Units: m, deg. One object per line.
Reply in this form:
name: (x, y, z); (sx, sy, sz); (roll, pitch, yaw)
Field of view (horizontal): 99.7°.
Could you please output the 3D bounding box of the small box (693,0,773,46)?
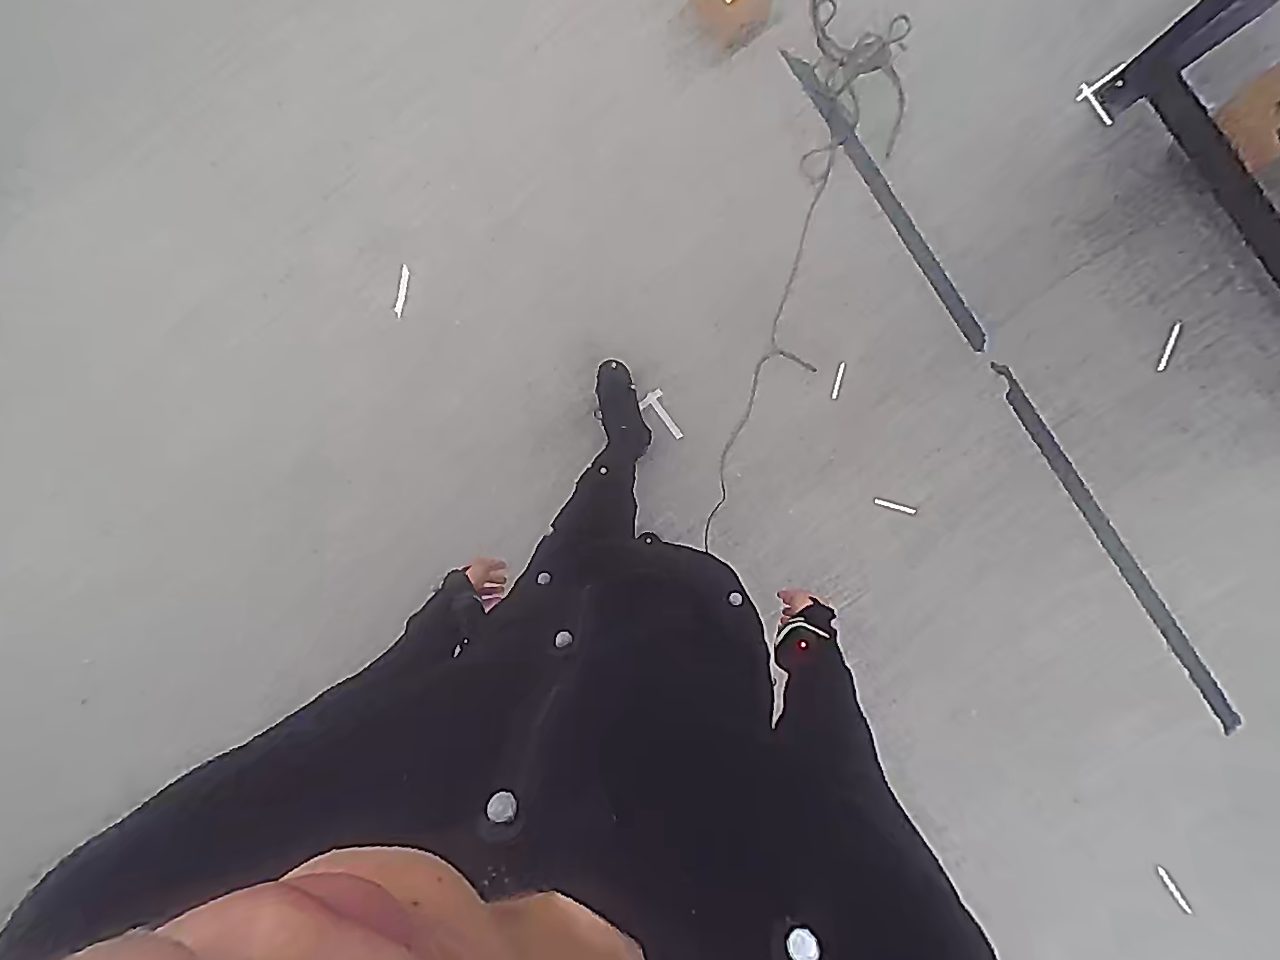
small box: (0.250, -1.338, 1.452); (0.168, 0.176, 0.179); (-33, 90, 5)
